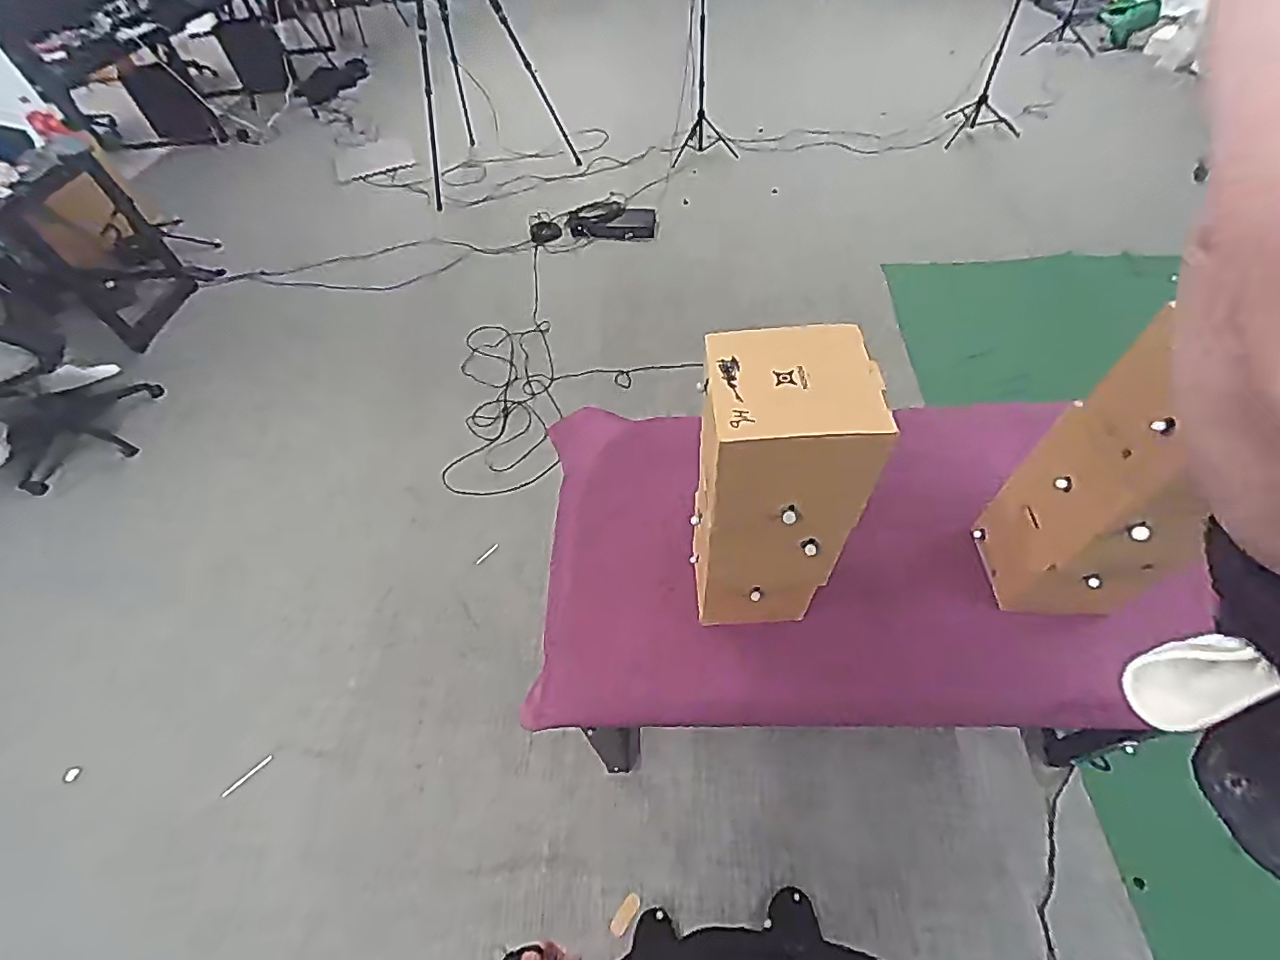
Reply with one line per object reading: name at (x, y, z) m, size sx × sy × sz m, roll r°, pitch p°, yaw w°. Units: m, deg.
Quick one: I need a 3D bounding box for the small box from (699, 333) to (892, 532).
small box at (0.164, -0.051, 0.635) m, size 0.179 × 0.176 × 0.168 m, roll -3°, pitch 53°, yaw 3°

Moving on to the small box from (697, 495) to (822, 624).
small box at (0.188, 0.132, 0.908) m, size 0.179 × 0.176 × 0.168 m, roll -4°, pitch 53°, yaw 4°

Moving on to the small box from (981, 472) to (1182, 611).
small box at (0.684, 0.103, 0.873) m, size 0.179 × 0.176 × 0.168 m, roll 0°, pitch 53°, yaw 6°

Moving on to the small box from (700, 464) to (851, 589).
small box at (0.177, 0.045, 0.767) m, size 0.179 × 0.176 × 0.168 m, roll -3°, pitch 53°, yaw 4°
